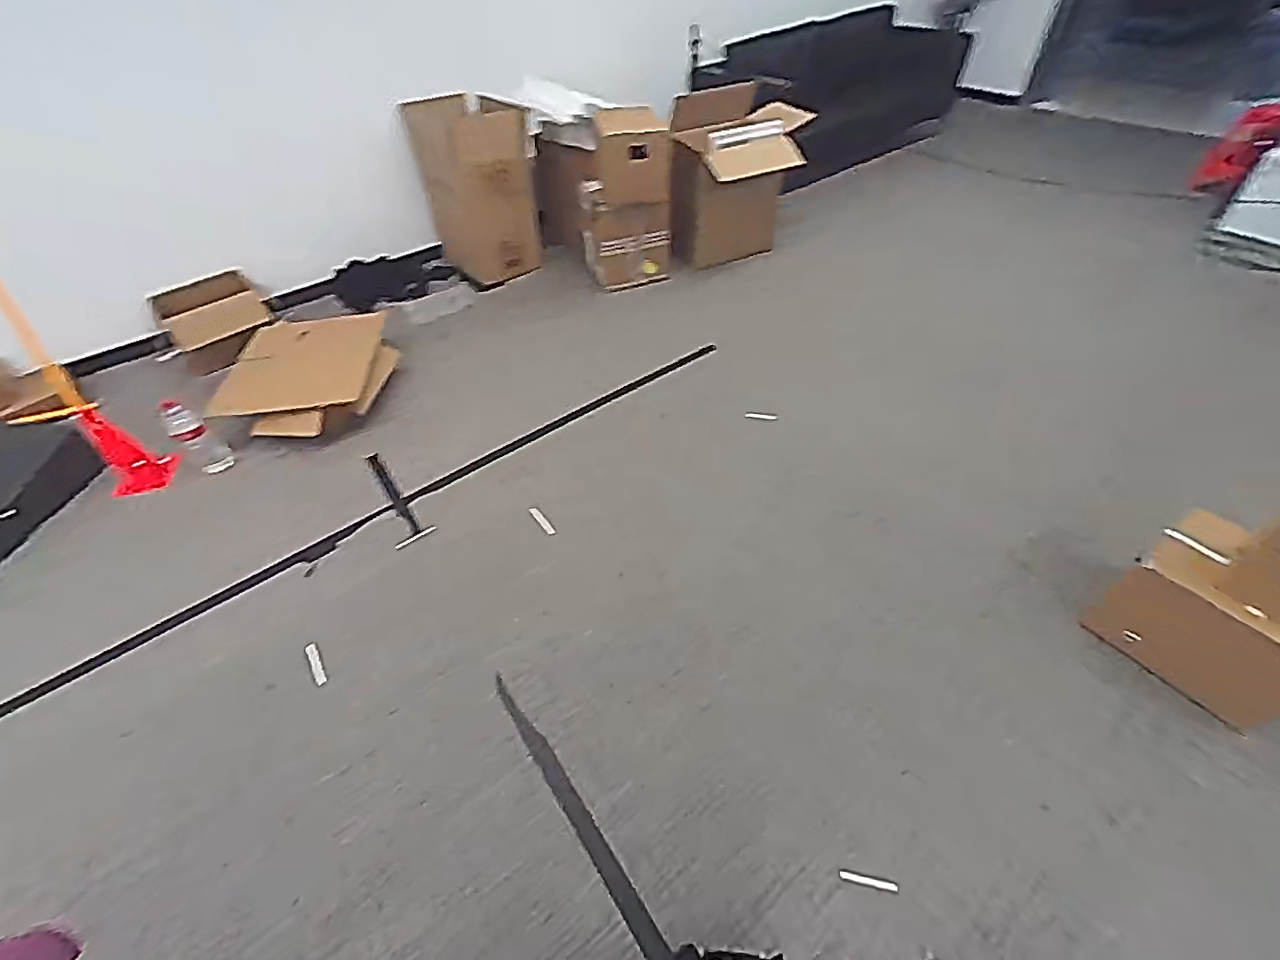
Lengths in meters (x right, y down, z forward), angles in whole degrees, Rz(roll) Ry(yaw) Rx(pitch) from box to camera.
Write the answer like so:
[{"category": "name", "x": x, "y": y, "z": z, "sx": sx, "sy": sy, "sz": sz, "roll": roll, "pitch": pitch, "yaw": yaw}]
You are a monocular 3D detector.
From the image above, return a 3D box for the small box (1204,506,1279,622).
[{"category": "small box", "x": 1.479, "y": 0.199, "z": 1.245, "sx": 0.168, "sy": 0.176, "sz": 0.179, "roll": -32, "pitch": 53, "yaw": -22}]
